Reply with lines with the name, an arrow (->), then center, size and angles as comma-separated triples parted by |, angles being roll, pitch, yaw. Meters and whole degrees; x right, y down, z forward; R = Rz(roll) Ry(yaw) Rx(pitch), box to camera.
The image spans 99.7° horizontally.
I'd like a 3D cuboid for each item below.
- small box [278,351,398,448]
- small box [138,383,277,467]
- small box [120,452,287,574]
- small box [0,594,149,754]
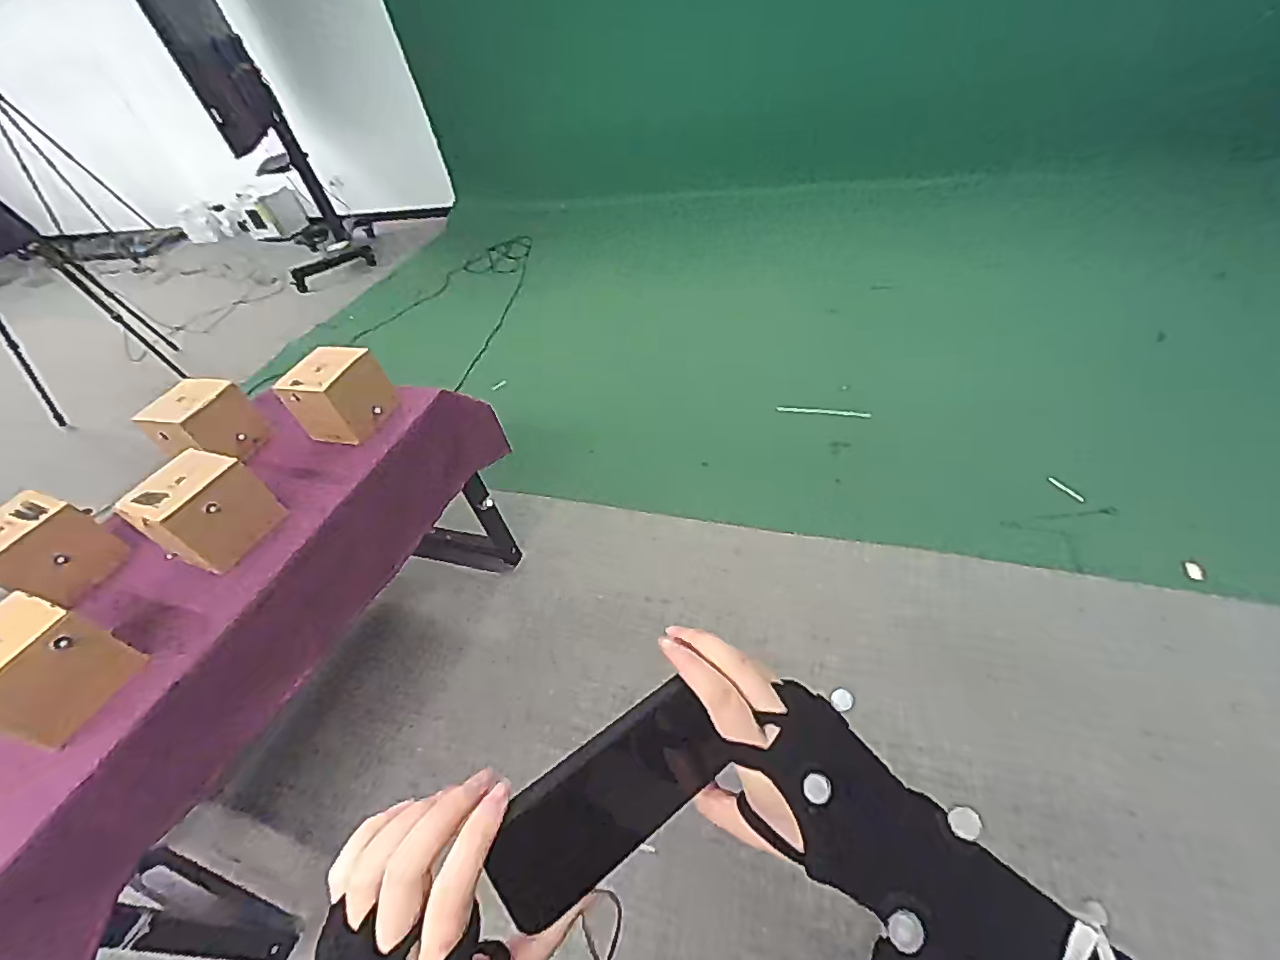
small box -> -0.741, -0.204, 1.356 | 0.168, 0.176, 0.179 | 6, 48, 20
small box -> -1.078, -0.127, 1.362 | 0.179, 0.176, 0.168 | 6, 48, 18
small box -> -0.889, 0.070, 1.120 | 0.168, 0.176, 0.179 | 10, 48, 23
small box -> -0.991, 0.322, 0.894 | 0.168, 0.176, 0.179 | 8, 47, 22
